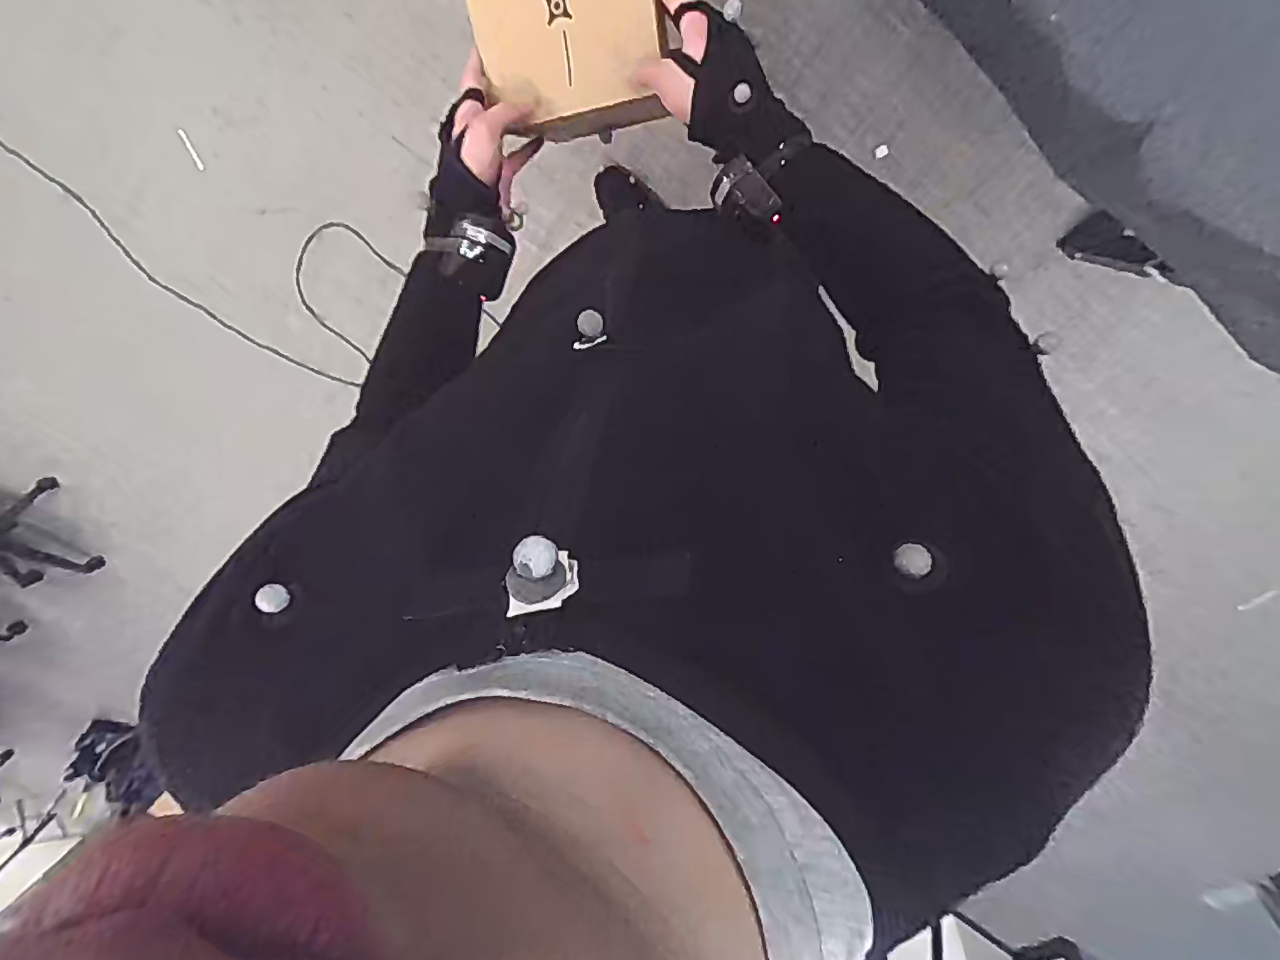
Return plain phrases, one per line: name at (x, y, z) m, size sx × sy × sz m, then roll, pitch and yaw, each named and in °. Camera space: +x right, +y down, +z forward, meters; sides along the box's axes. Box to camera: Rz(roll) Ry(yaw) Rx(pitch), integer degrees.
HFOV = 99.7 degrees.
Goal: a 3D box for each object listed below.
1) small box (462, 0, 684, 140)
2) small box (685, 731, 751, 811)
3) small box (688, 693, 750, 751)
small box at (-0.055, -0.443, 0.511) m, size 0.168 × 0.176 × 0.179 m, roll -3°, pitch 117°, yaw 14°
small box at (0.277, 1.035, 1.932) m, size 0.168 × 0.176 × 0.179 m, roll 33°, pitch 119°, yaw -9°
small box at (0.298, 0.956, 2.072) m, size 0.168 × 0.176 × 0.179 m, roll 32°, pitch 118°, yaw -10°
